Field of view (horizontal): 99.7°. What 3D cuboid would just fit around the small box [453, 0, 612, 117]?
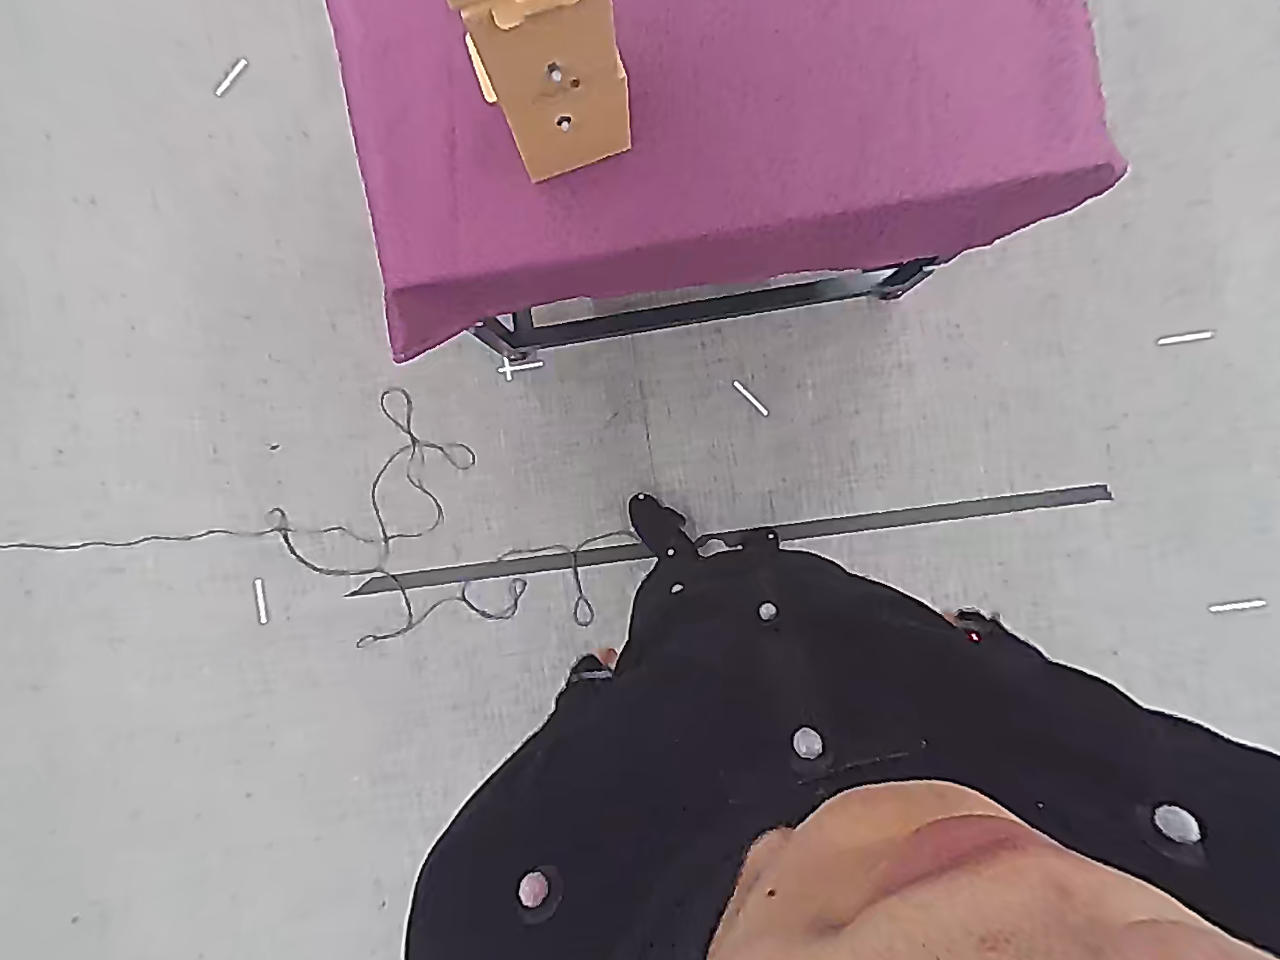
[{"bbox_3d":[-0.141,-0.596,0.654,0.168,0.176,0.179,-20,90,2],"label":"small box"}]

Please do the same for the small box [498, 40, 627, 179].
[{"bbox_3d":[-0.127,-0.595,0.818,0.179,0.176,0.168,-19,91,1],"label":"small box"}]
